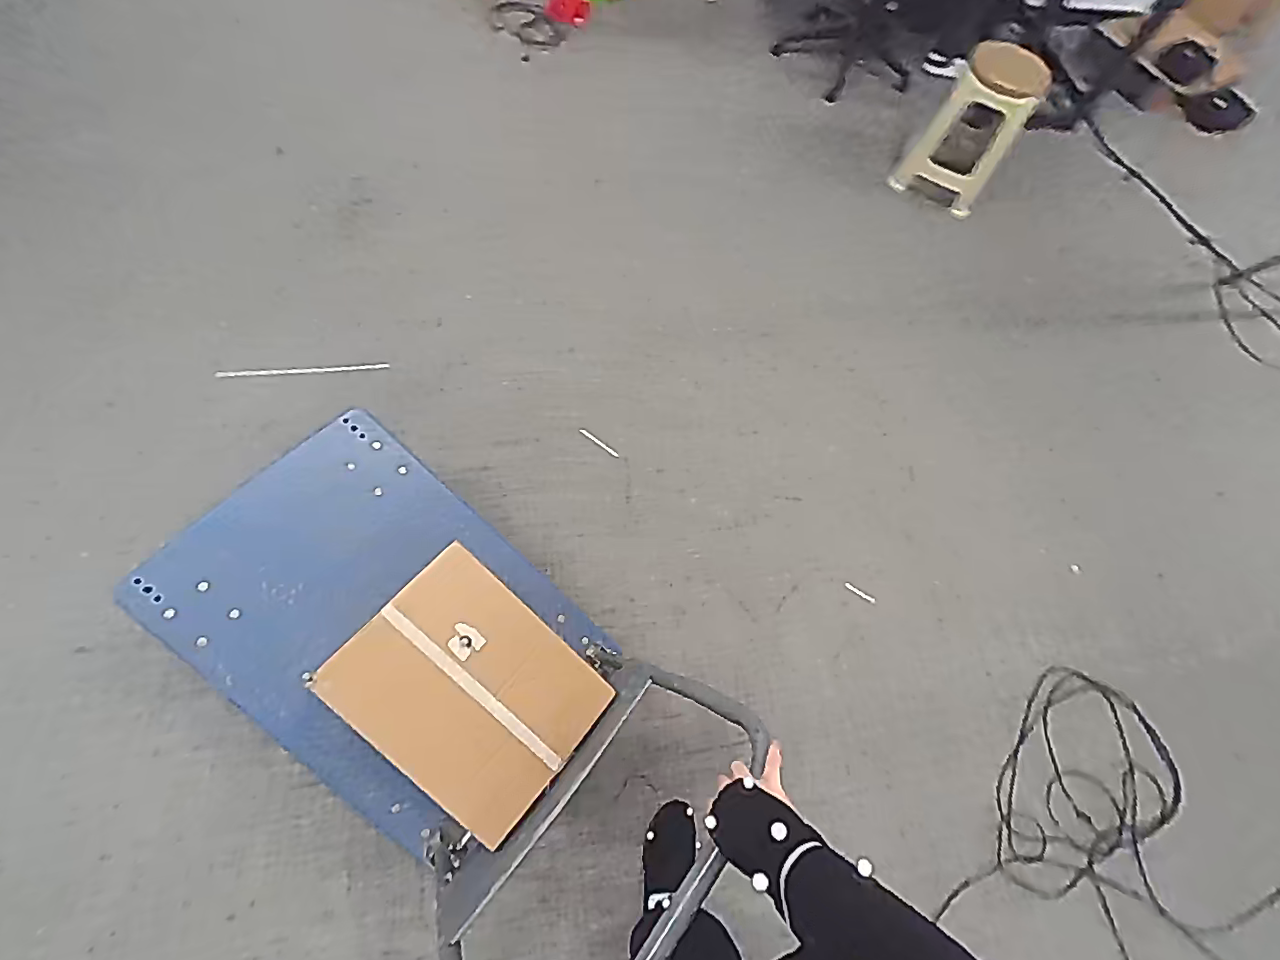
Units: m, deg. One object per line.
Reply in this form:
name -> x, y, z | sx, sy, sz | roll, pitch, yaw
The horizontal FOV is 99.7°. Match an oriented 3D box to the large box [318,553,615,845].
large box -> -0.323, 0.401, 1.070 | 0.408, 0.320, 0.320 | 44, 67, -3
